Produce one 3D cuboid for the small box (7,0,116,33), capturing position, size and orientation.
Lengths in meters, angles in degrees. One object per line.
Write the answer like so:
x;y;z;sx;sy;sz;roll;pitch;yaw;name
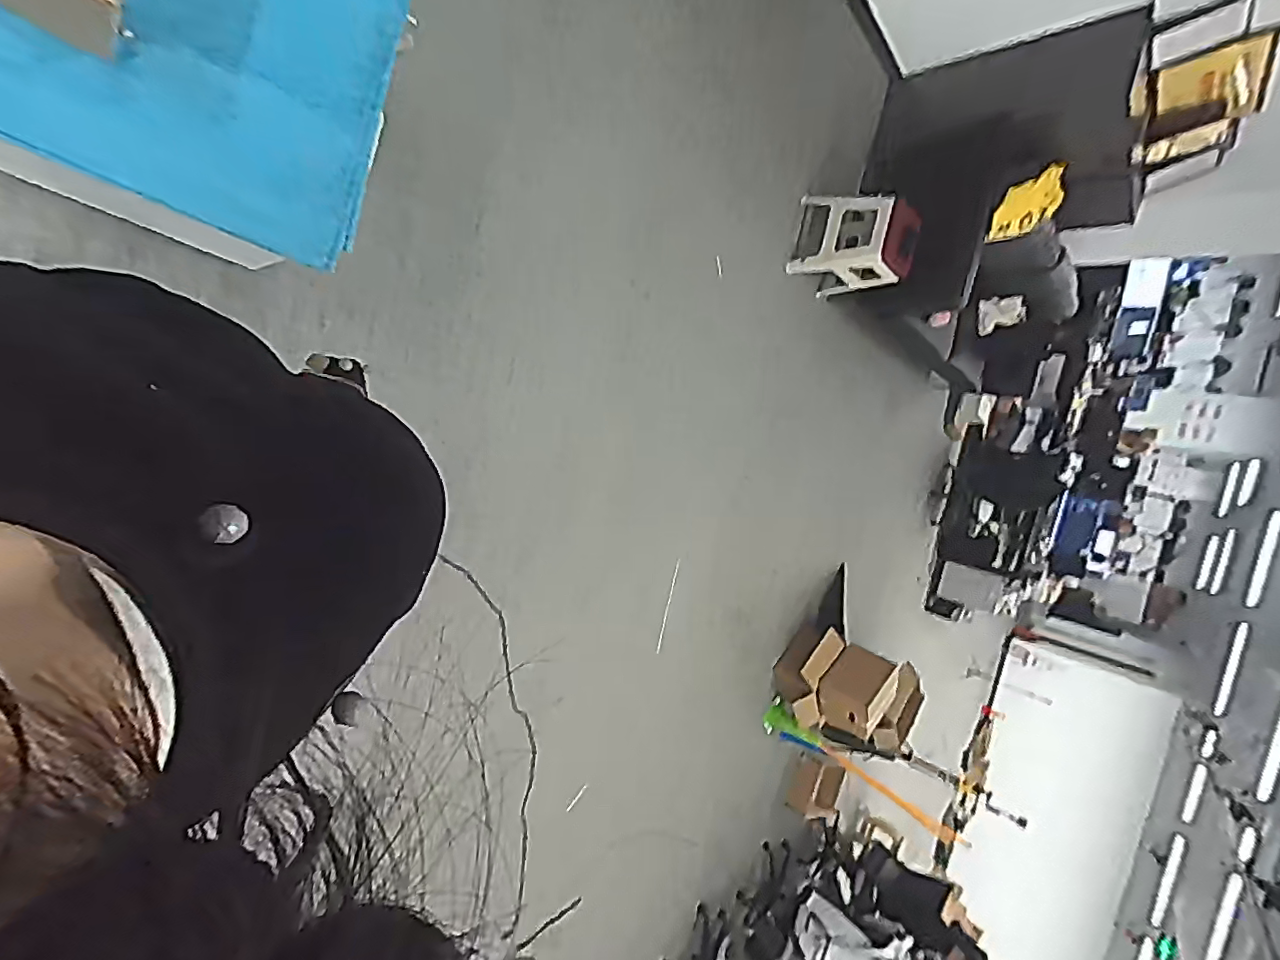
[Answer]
-0.575;-0.552;0.482;0.179;0.176;0.168;12;92;-47;small box
